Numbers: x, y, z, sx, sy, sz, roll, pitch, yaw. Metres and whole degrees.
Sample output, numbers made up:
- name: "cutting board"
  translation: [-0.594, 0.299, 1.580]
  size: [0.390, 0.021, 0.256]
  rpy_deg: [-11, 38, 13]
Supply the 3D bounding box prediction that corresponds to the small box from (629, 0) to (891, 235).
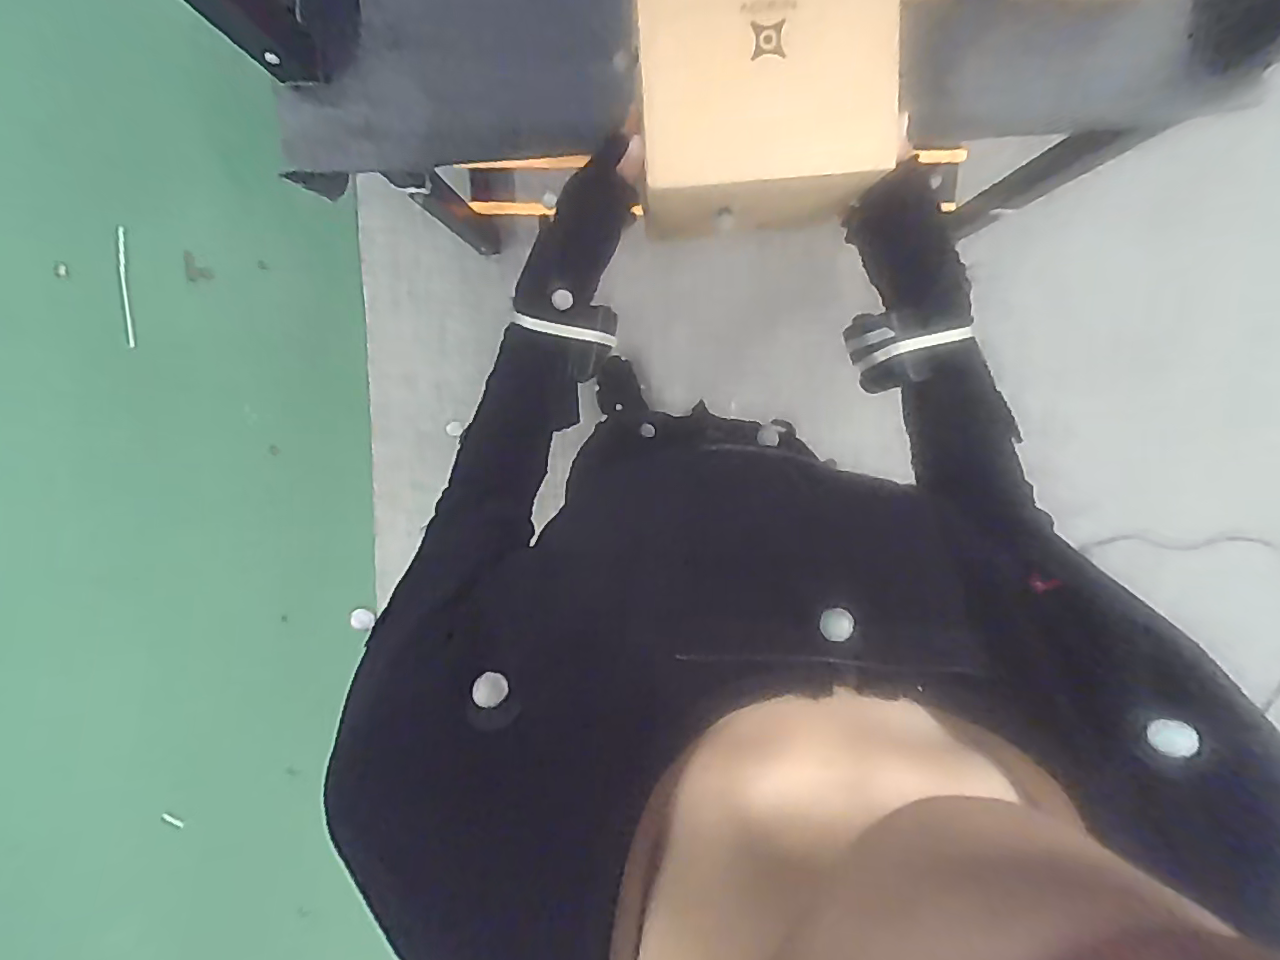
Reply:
- name: "small box"
  translation: [0.078, -0.301, 0.422]
  size: [0.168, 0.176, 0.179]
  rpy_deg: [-4, 101, 2]
